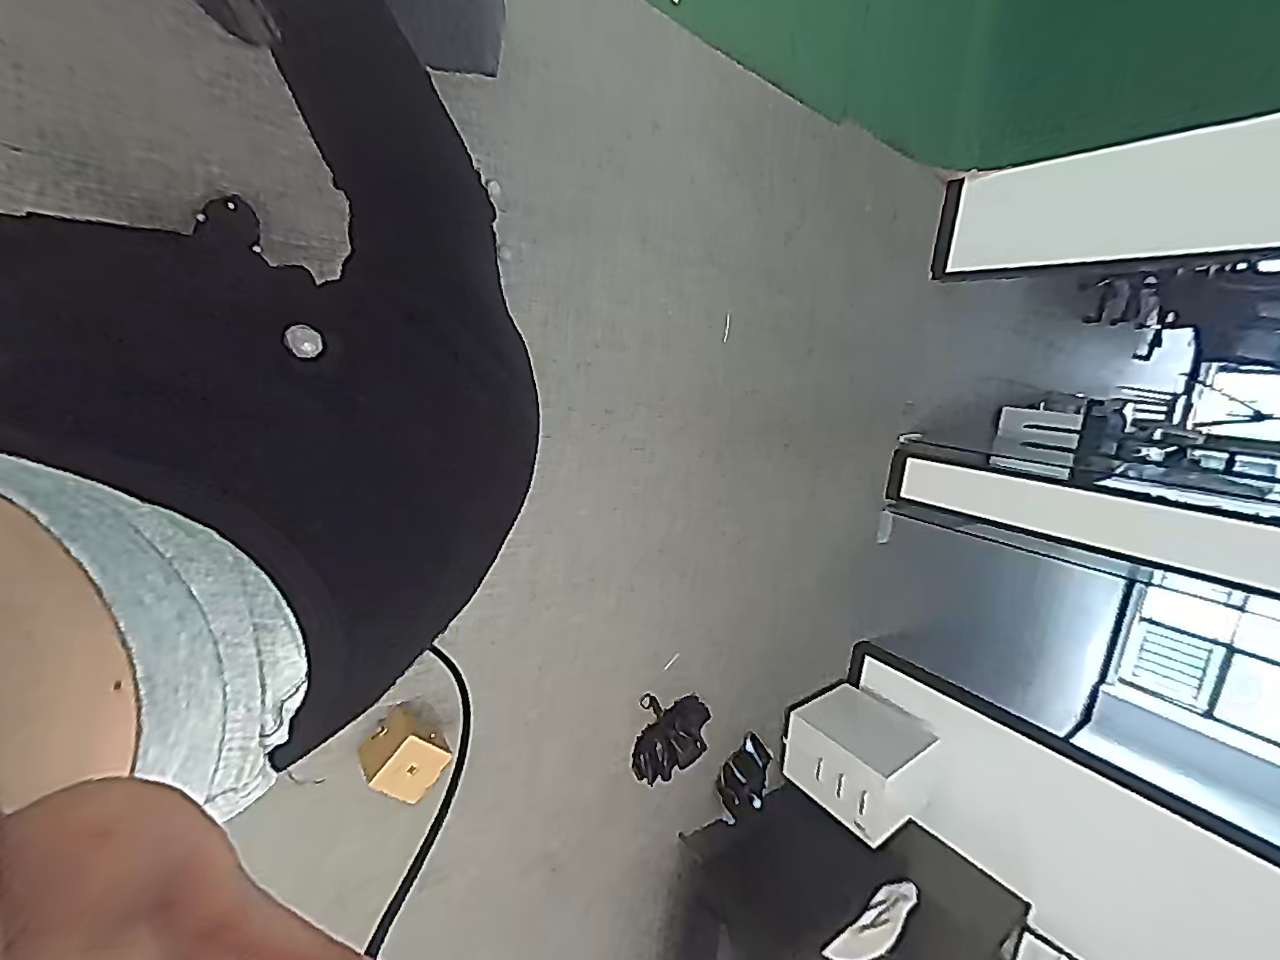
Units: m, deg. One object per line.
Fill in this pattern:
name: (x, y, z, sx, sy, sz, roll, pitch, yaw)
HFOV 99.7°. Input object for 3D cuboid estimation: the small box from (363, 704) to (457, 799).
small box: (-0.692, 0.808, 1.621, 0.168, 0.176, 0.179, -52, 126, -16)
